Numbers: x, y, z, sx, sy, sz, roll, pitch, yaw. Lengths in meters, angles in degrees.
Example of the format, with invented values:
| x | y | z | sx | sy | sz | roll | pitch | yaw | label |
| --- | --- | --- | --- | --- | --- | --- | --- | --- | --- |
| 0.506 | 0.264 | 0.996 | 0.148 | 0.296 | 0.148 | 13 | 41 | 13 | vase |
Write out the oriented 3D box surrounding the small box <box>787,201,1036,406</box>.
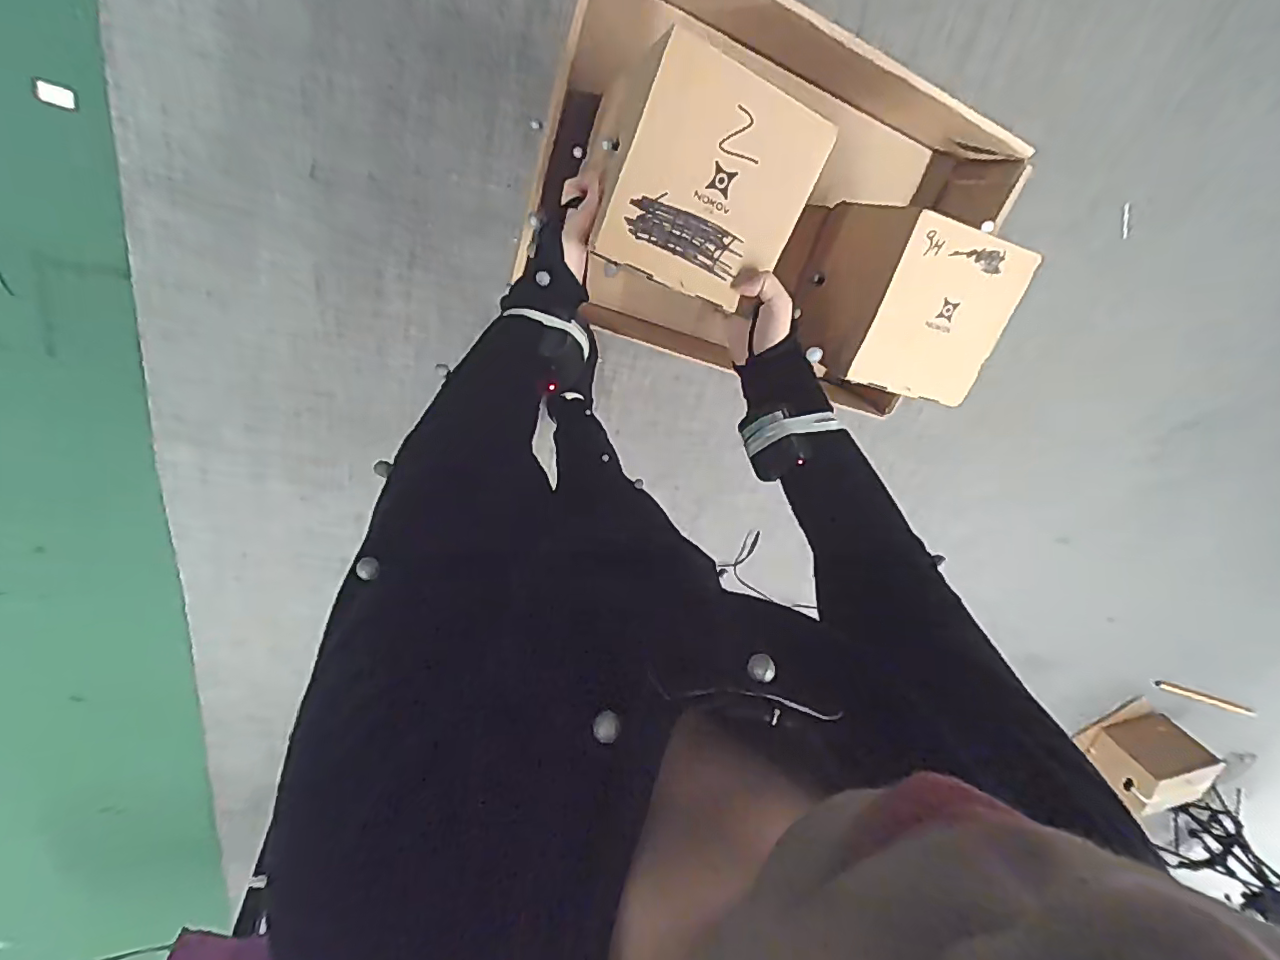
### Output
| x | y | z | sx | sy | sz | roll | pitch | yaw | label |
| --- | --- | --- | --- | --- | --- | --- | --- | --- | --- |
| 0.301 | -0.213 | 0.647 | 0.168 | 0.176 | 0.179 | 10 | 117 | -20 | small box |
